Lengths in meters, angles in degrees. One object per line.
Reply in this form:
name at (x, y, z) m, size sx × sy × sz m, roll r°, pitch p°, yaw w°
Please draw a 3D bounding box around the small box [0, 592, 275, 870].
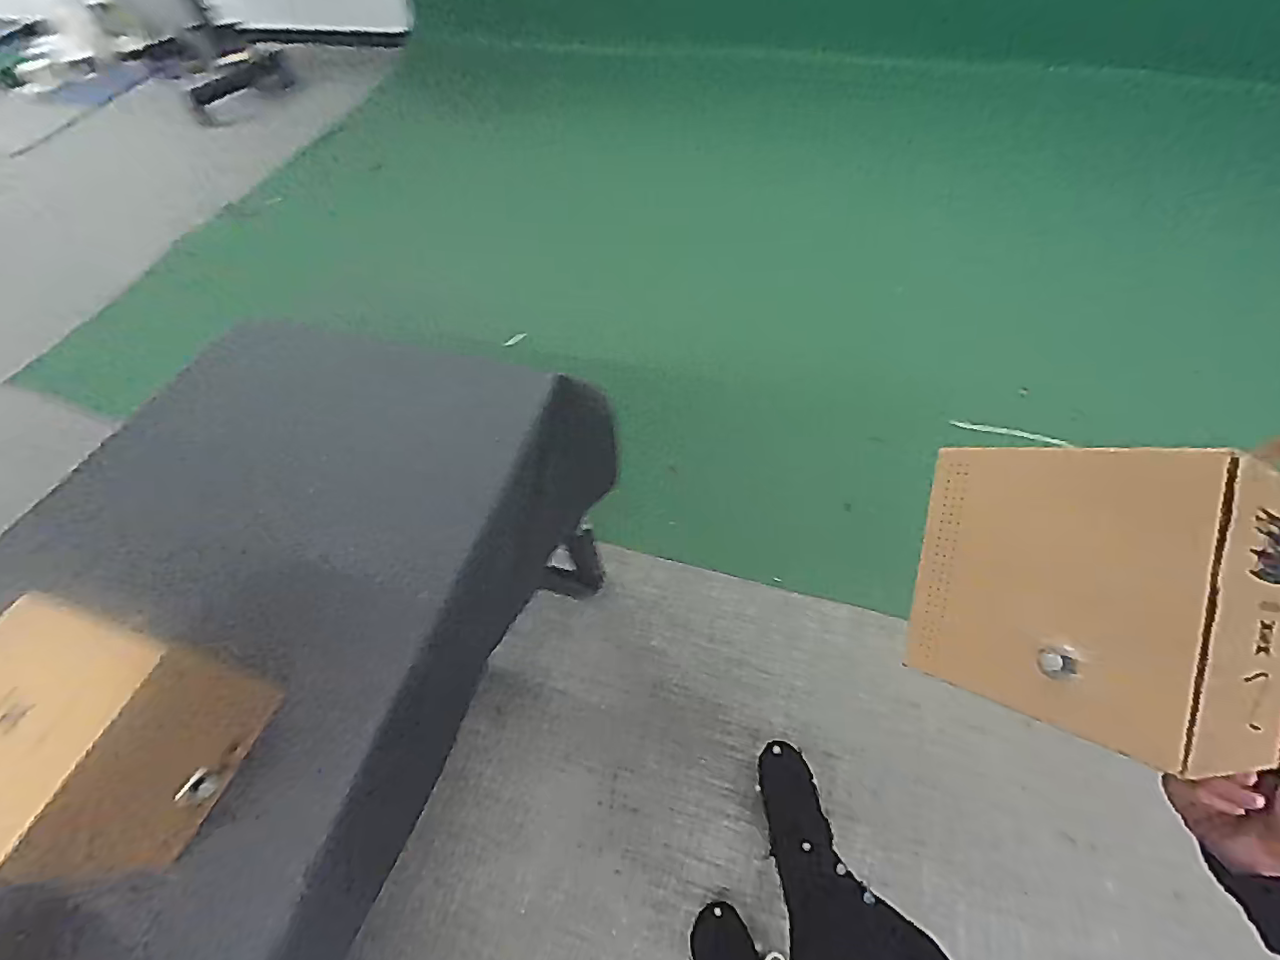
small box at (-0.492, 0.226, 0.486) m, size 0.179 × 0.176 × 0.168 m, roll 13°, pitch 59°, yaw 11°
